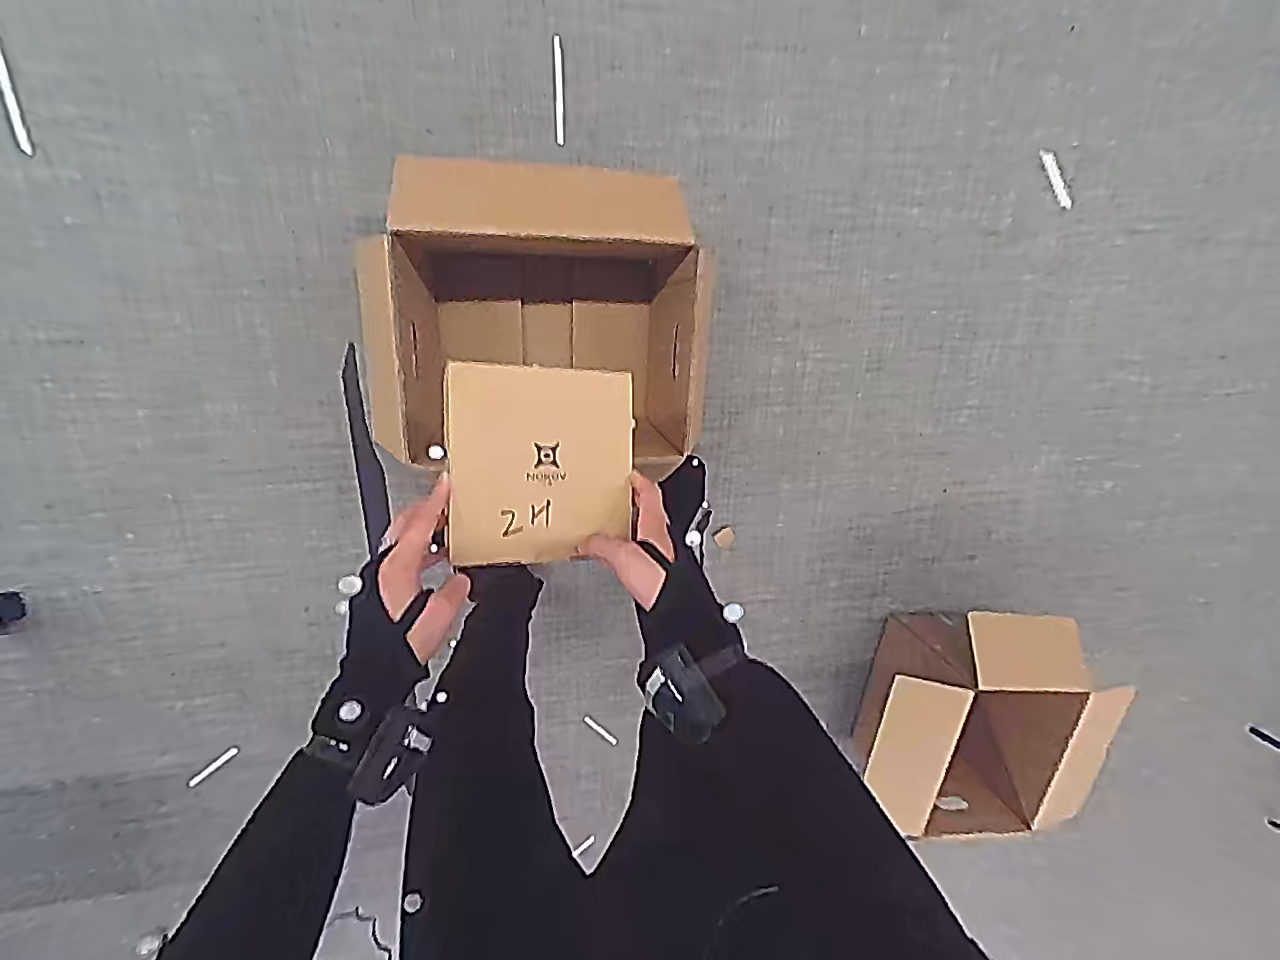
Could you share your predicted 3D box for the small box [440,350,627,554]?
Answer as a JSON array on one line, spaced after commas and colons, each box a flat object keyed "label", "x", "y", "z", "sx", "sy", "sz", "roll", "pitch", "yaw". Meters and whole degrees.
[{"label": "small box", "x": -0.117, "y": -0.026, "z": 0.557, "sx": 0.168, "sy": 0.176, "sz": 0.179, "roll": -1, "pitch": 93, "yaw": -20}]
